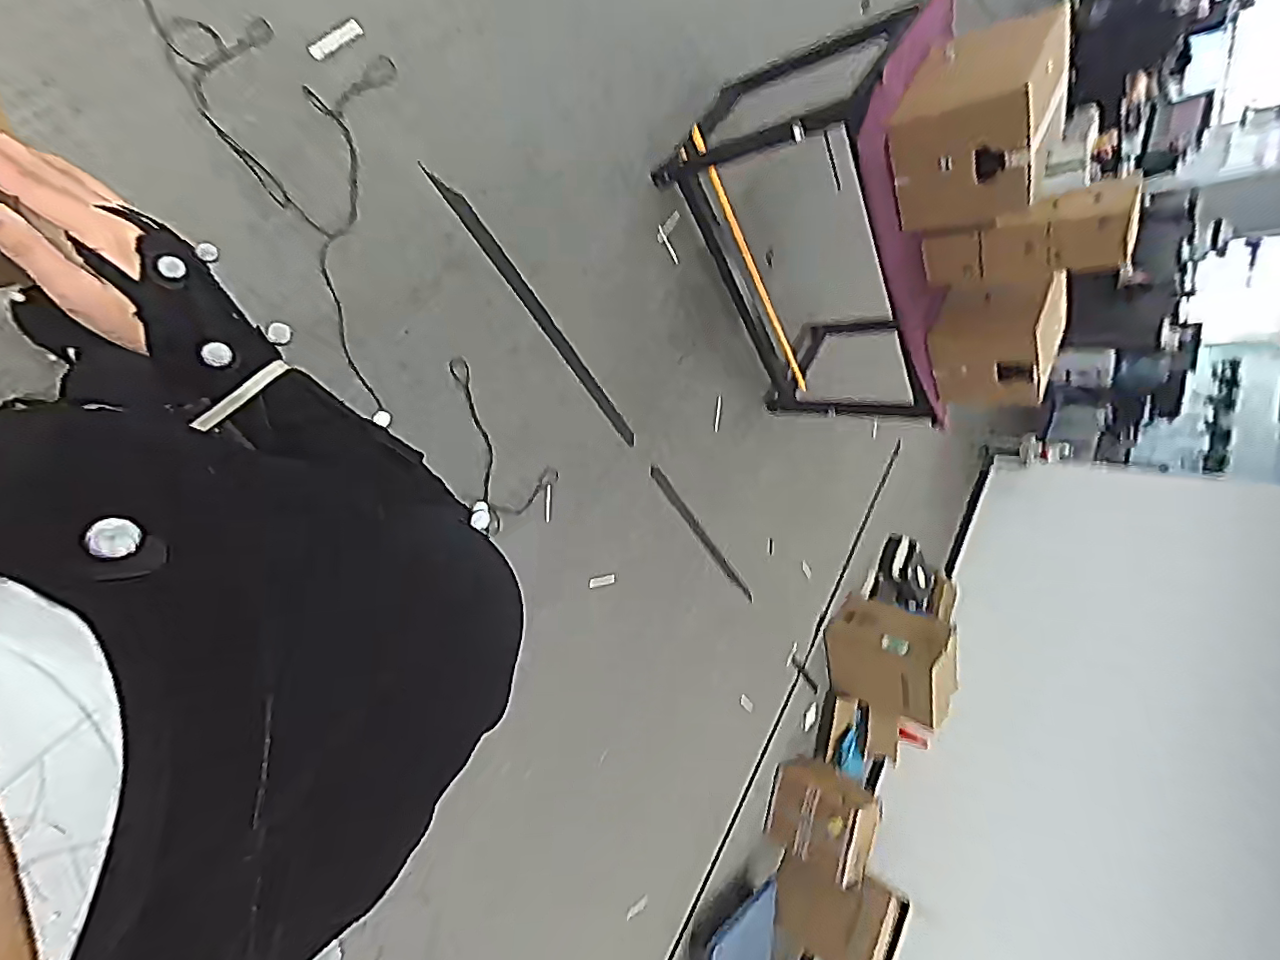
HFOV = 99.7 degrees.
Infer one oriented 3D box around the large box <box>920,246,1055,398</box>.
[{"bbox_3d":[1.219,-0.536,1.894,0.320,0.320,0.408,51,61,-40],"label":"large box"}]
